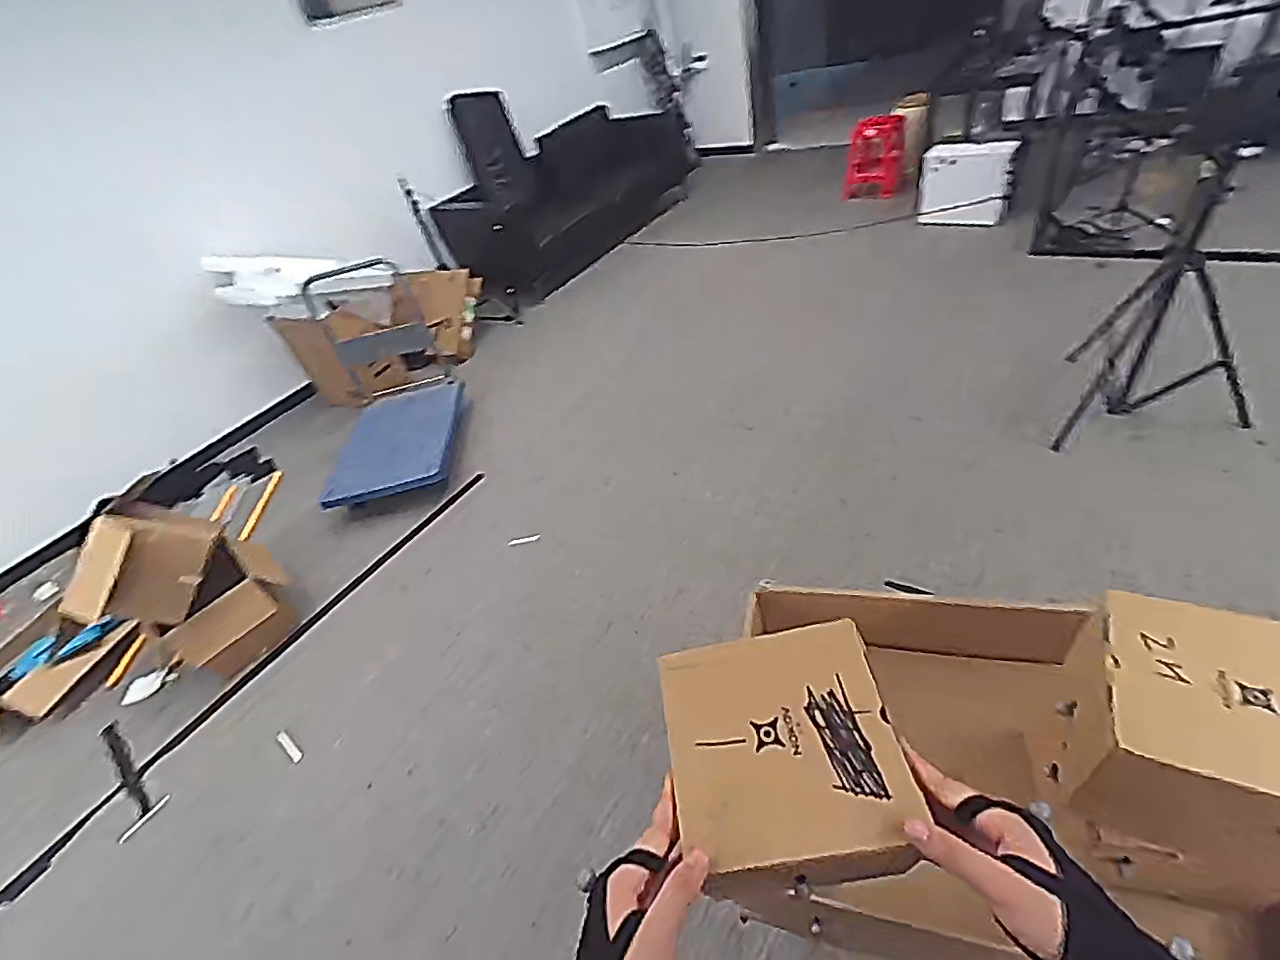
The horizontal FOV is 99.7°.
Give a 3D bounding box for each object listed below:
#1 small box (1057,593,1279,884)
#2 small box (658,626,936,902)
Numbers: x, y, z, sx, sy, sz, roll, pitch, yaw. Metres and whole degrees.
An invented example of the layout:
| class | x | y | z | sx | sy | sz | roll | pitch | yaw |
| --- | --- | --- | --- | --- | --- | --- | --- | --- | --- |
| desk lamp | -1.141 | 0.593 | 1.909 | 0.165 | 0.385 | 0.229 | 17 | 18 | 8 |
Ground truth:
| class | x | y | z | sx | sy | sz | roll | pitch | yaw |
| --- | --- | --- | --- | --- | --- | --- | --- | --- | --- |
| small box | 0.519 | 0.238 | 0.502 | 0.179 | 0.176 | 0.168 | 10 | 48 | 30 |
| small box | 0.123 | 0.255 | 0.479 | 0.179 | 0.176 | 0.168 | -13 | 46 | 5 |
